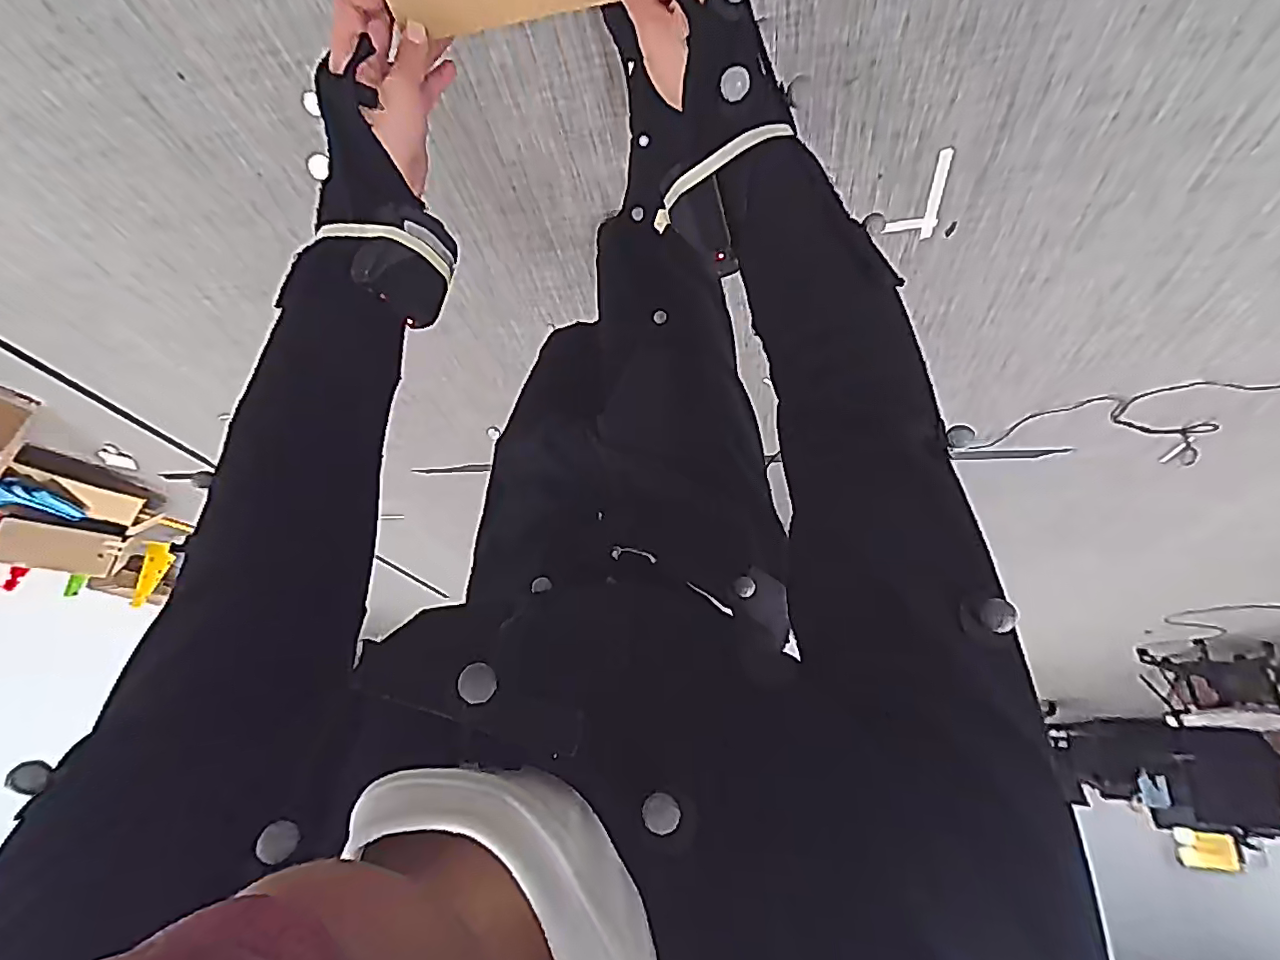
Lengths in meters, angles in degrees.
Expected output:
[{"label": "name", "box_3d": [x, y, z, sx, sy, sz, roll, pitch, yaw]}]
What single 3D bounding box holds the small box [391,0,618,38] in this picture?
[{"label": "small box", "box_3d": [-0.086, -0.416, 0.323, 0.168, 0.176, 0.179, -1, 149, 11]}]
